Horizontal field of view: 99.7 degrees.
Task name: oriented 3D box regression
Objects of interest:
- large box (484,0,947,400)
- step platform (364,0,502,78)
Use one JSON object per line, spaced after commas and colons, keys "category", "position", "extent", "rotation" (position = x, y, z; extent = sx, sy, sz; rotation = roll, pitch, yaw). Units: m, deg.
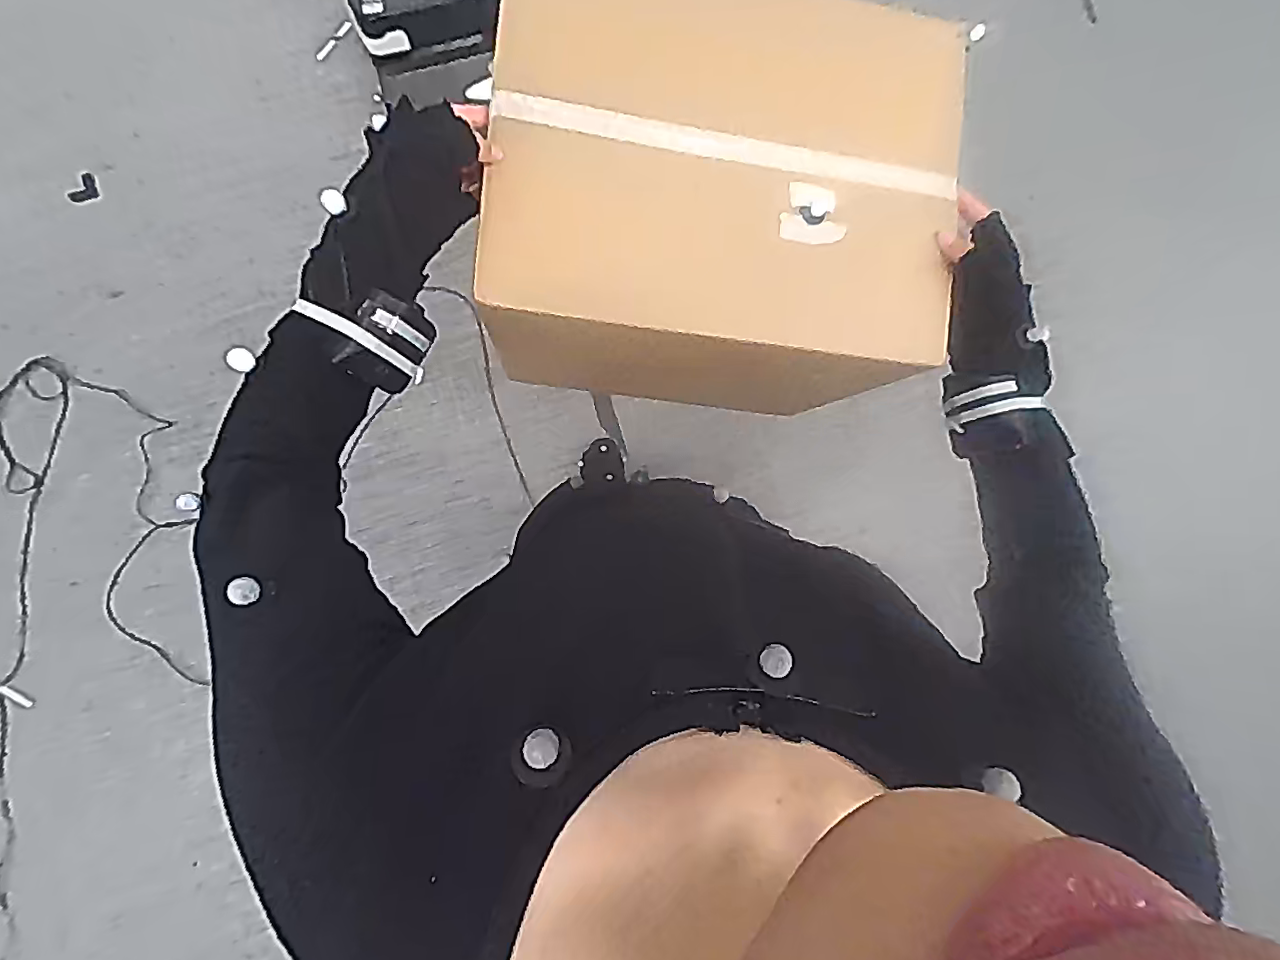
{"category": "large box", "position": [0.054, -0.282, 0.609], "extent": [0.408, 0.320, 0.320], "rotation": [5, 89, -9]}
{"category": "step platform", "position": [-0.393, -1.347, 1.437], "extent": [0.684, 0.204, 0.286], "rotation": [-20, 89, -7]}
